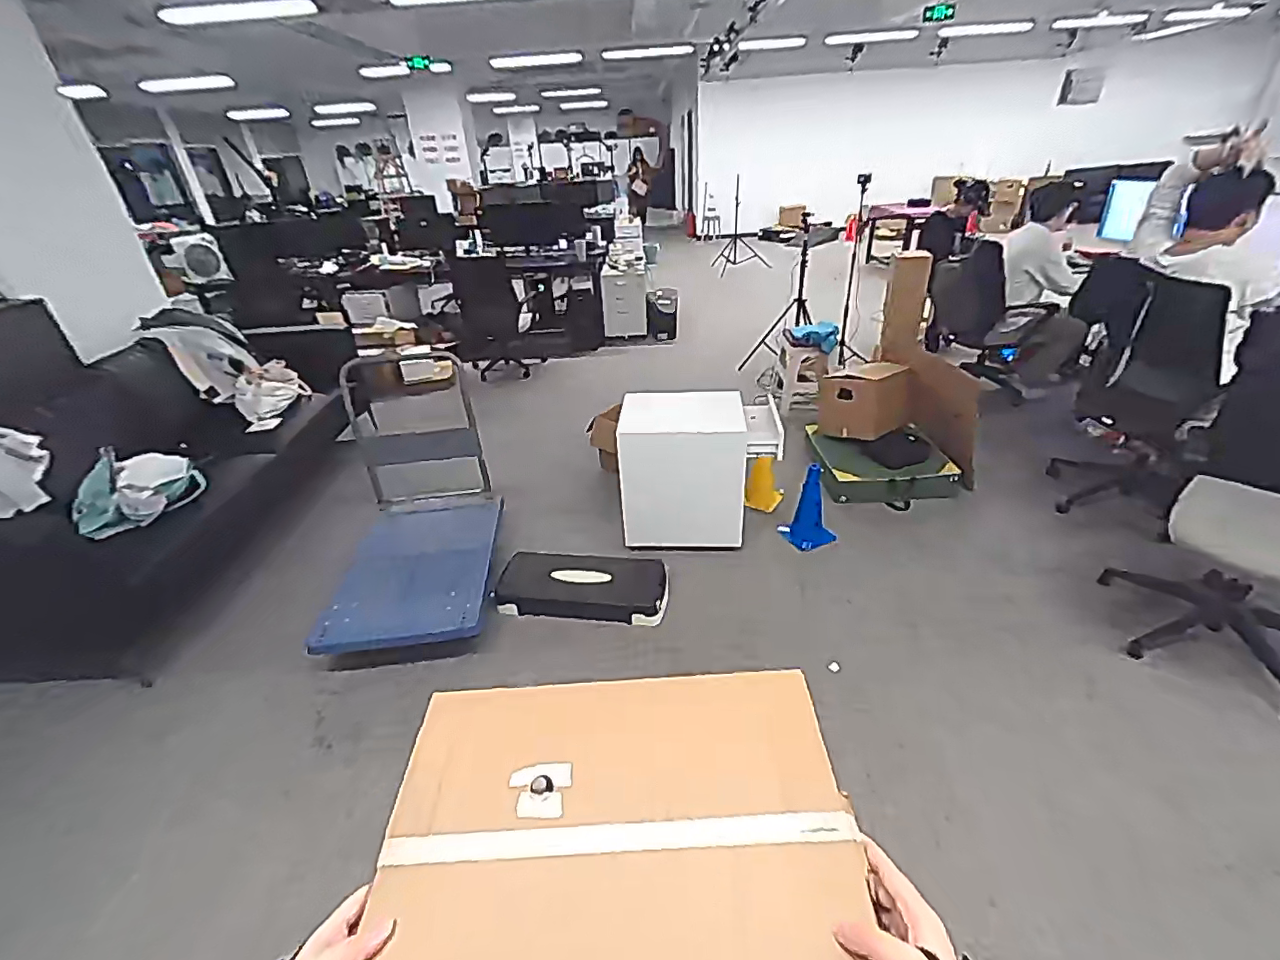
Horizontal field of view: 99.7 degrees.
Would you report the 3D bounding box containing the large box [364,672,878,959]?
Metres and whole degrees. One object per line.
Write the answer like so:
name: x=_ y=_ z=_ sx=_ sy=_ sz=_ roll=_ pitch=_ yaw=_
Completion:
large box: x=-0.006 y=0.440 z=0.565 sx=0.408 sy=0.320 sz=0.320 roll=-6 pitch=35 yaw=3
